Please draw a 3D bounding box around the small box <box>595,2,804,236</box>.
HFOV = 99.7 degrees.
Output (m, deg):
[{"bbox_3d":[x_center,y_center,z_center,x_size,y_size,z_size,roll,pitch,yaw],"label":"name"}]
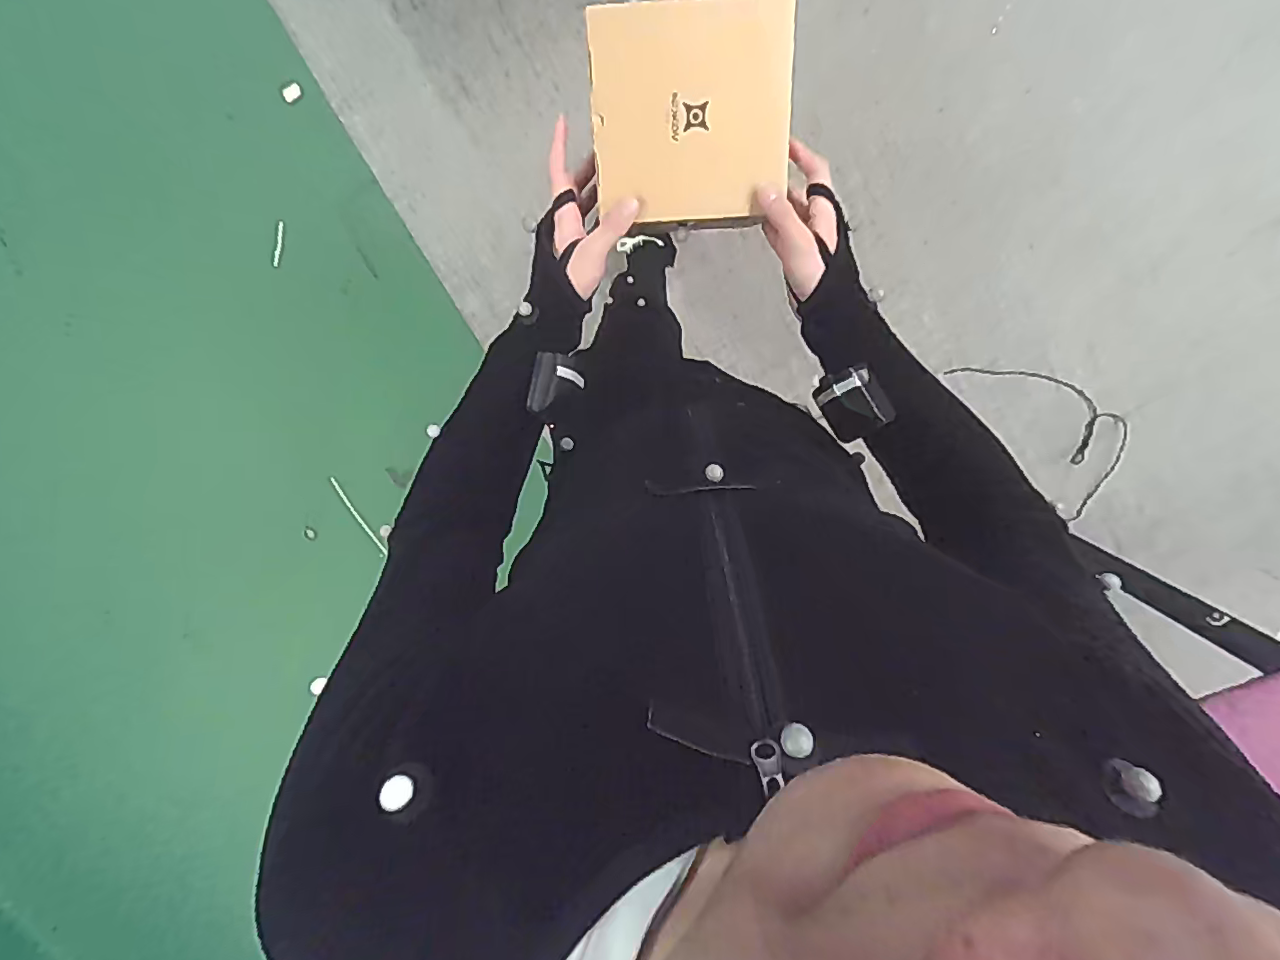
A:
[{"bbox_3d":[0.054,-0.344,0.549,0.179,0.176,0.168,-2,111,3],"label":"small box"}]
